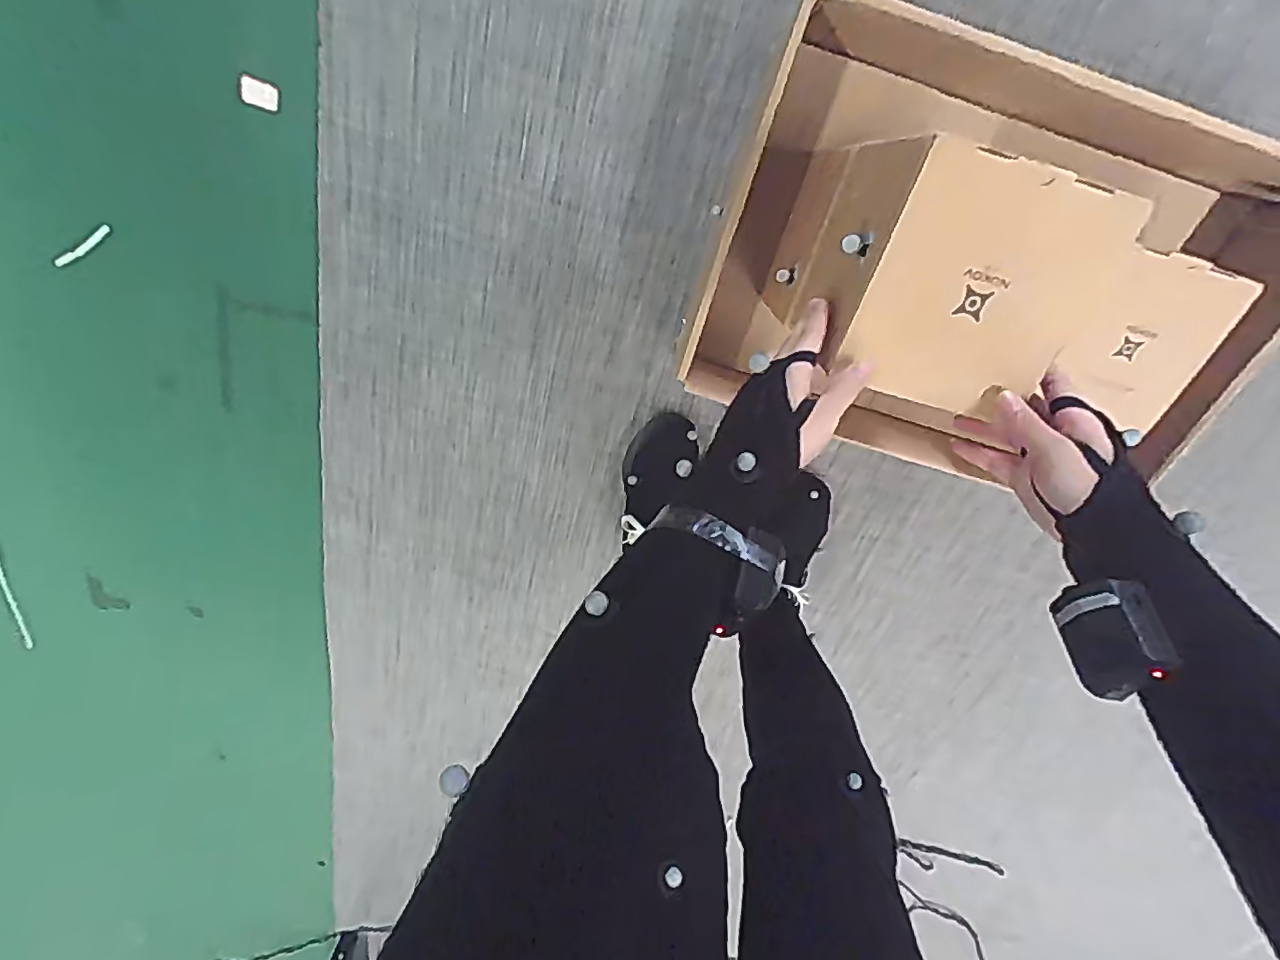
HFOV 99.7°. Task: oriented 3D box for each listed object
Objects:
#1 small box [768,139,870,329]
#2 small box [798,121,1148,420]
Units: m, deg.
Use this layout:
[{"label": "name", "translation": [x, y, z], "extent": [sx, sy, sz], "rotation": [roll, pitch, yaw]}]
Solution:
[{"label": "small box", "translation": [0.257, -0.257, 0.614], "extent": [0.168, 0.176, 0.179], "rotation": [15, 117, -6]}, {"label": "small box", "translation": [0.252, -0.180, 0.472], "extent": [0.168, 0.176, 0.179], "rotation": [15, 117, -4]}]
